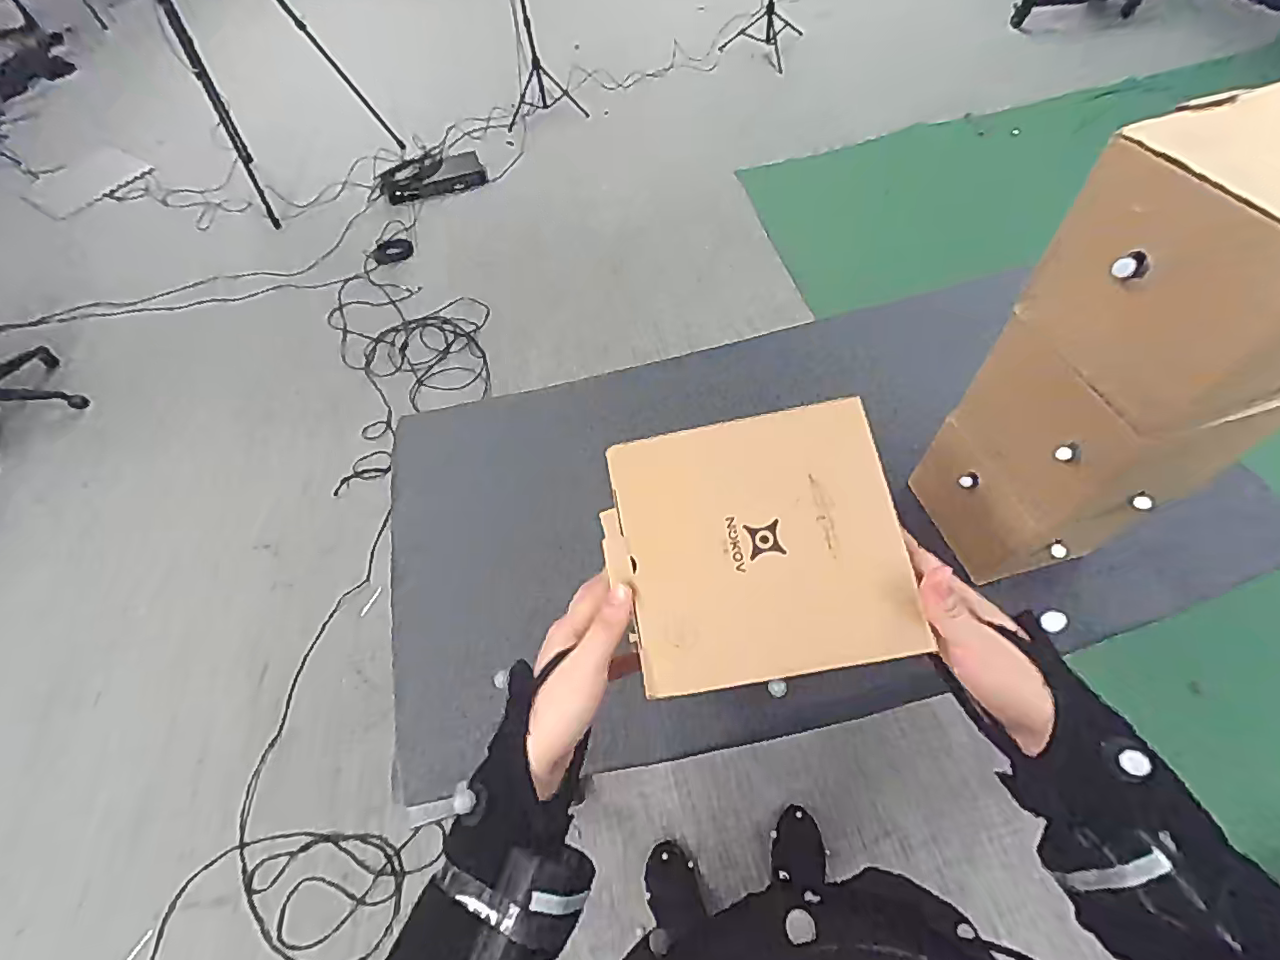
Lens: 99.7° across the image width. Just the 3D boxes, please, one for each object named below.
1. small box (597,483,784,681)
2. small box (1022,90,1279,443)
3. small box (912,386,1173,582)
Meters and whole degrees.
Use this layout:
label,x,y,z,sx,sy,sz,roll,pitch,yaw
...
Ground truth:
label,x,y,z,sx,sy,sz,roll,pitch,yaw
small box,0.057,0.131,0.667,0.179,0.176,0.168,-15,57,-2
small box,0.450,-0.160,0.415,0.168,0.176,0.179,-19,56,-4
small box,0.486,0.016,0.690,0.168,0.176,0.179,-15,57,-3
